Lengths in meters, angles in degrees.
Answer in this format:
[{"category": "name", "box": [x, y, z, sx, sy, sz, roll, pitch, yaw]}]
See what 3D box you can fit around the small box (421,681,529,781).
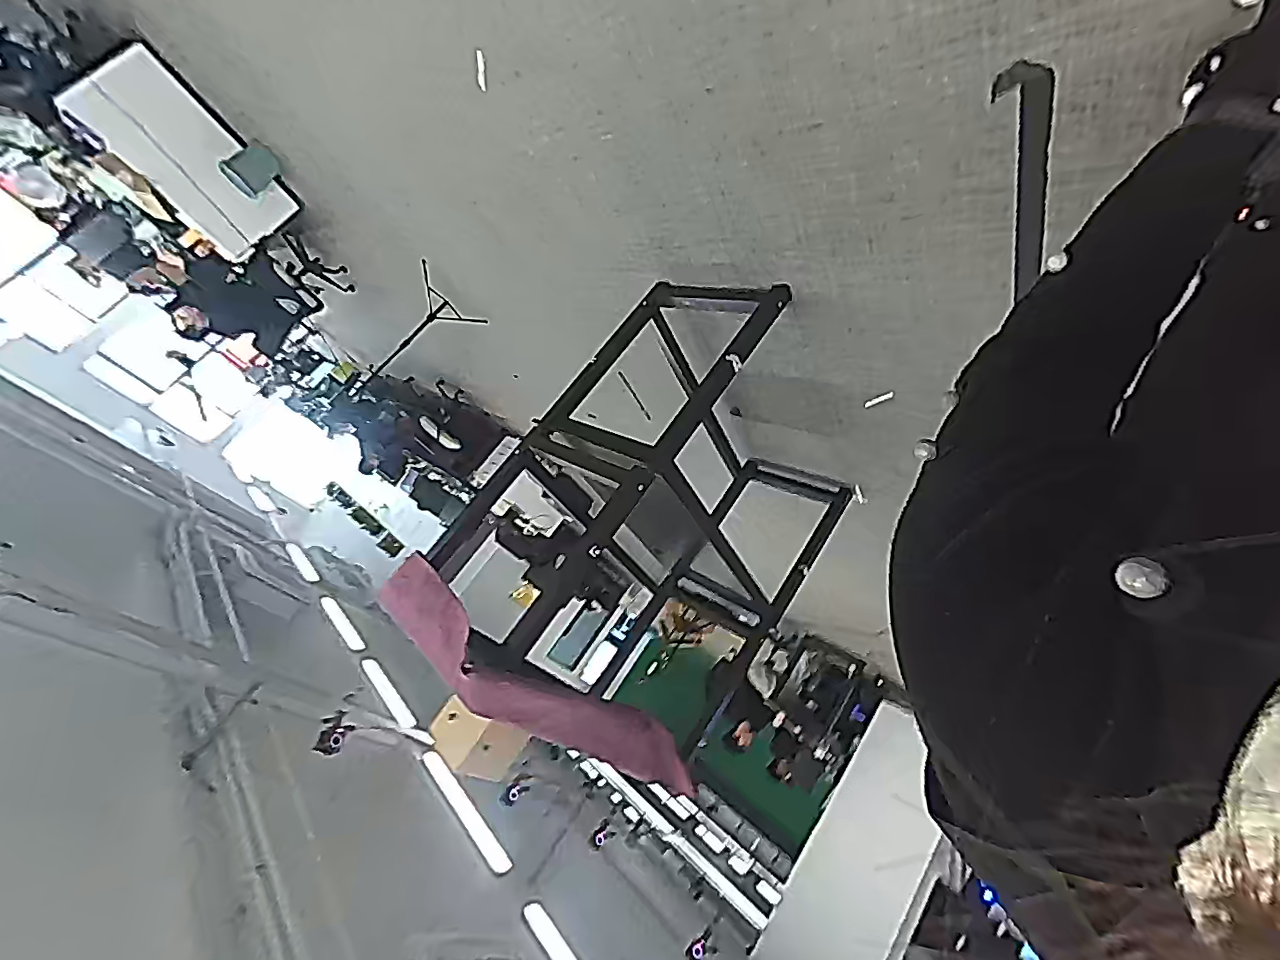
[{"category": "small box", "box": [-0.436, 0.664, 1.443, 0.168, 0.176, 0.179, 24, 161, 41]}]
